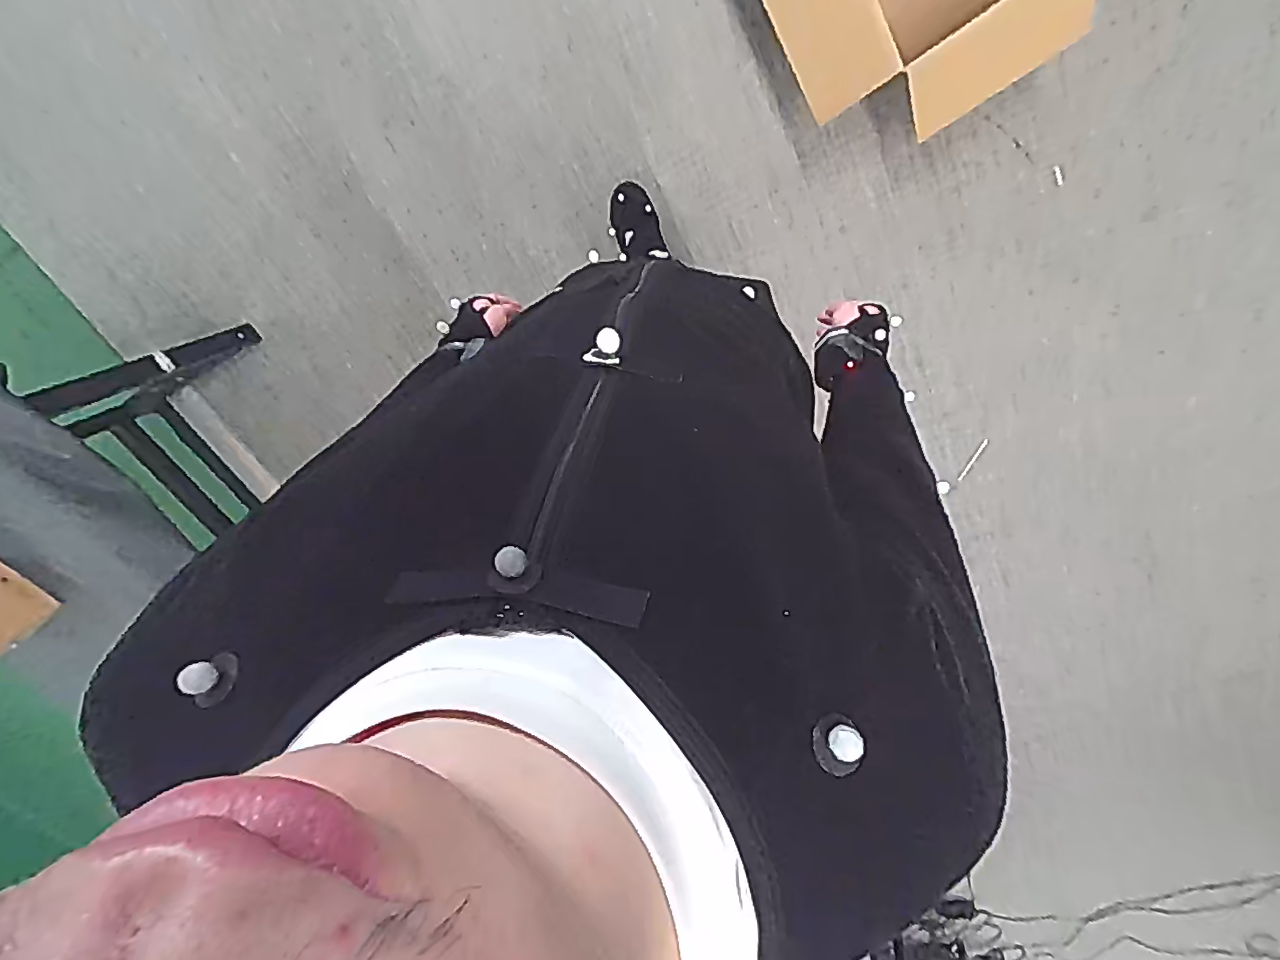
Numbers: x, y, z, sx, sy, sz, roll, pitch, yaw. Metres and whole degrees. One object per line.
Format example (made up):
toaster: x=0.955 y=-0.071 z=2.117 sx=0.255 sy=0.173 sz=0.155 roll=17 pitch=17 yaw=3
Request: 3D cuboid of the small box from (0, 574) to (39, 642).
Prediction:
small box: x=-1.392 y=0.282 z=1.086 sx=0.179 sy=0.176 sz=0.168 roll=-30 pitch=109 yaw=21
